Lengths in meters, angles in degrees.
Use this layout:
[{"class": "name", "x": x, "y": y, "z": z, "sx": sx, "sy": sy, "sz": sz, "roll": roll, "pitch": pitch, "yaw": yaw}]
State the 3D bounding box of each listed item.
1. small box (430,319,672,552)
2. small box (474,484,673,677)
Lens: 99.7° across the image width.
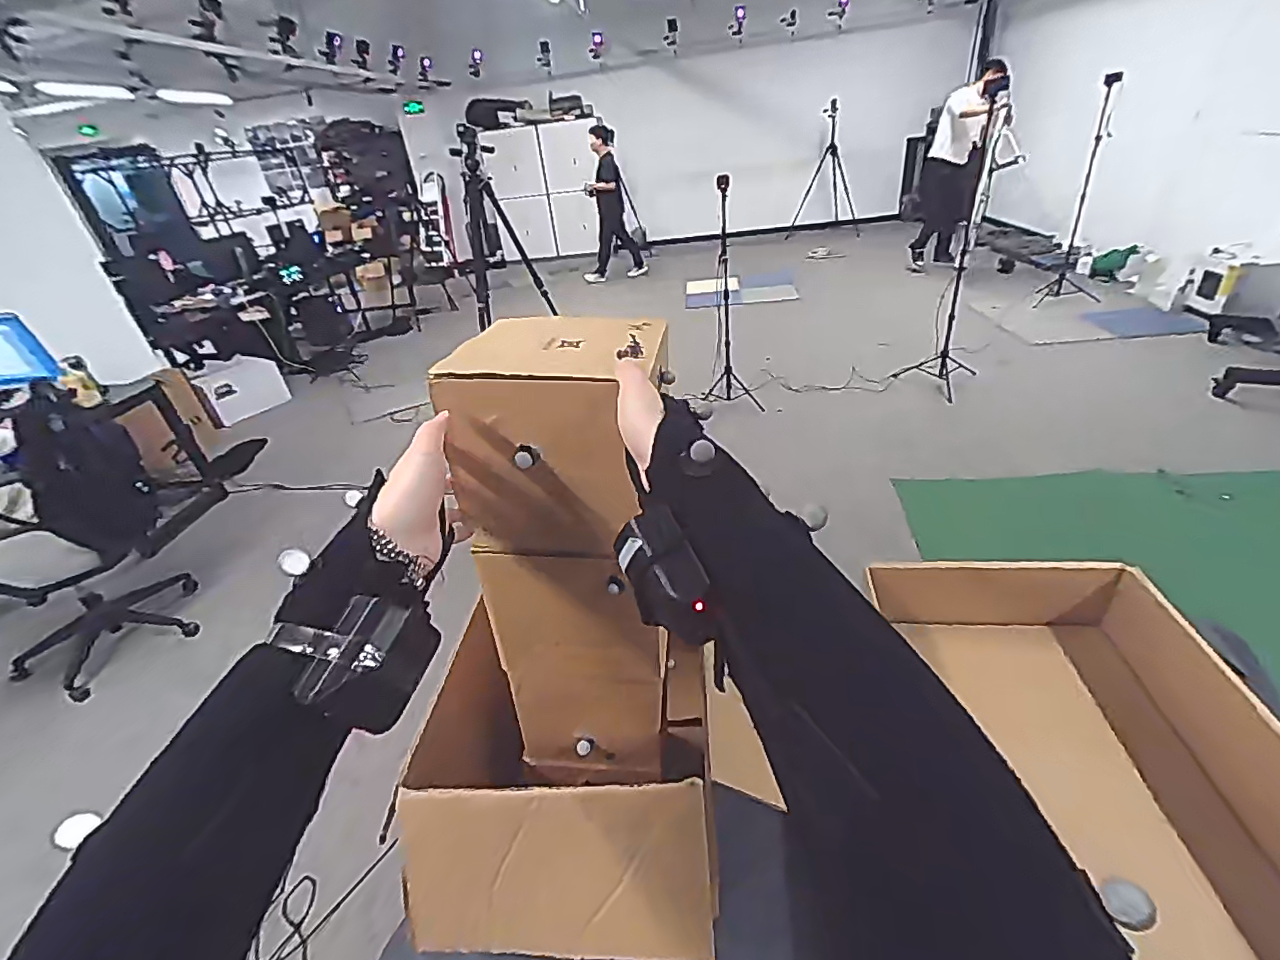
[{"class": "small box", "x": -0.064, "y": -0.047, "z": 0.513, "sx": 0.179, "sy": 0.176, "sz": 0.168, "roll": 2, "pitch": 32, "yaw": 8}, {"class": "small box", "x": -0.057, "y": 0.095, "z": 0.598, "sx": 0.179, "sy": 0.176, "sz": 0.168, "roll": 2, "pitch": 32, "yaw": 6}]
